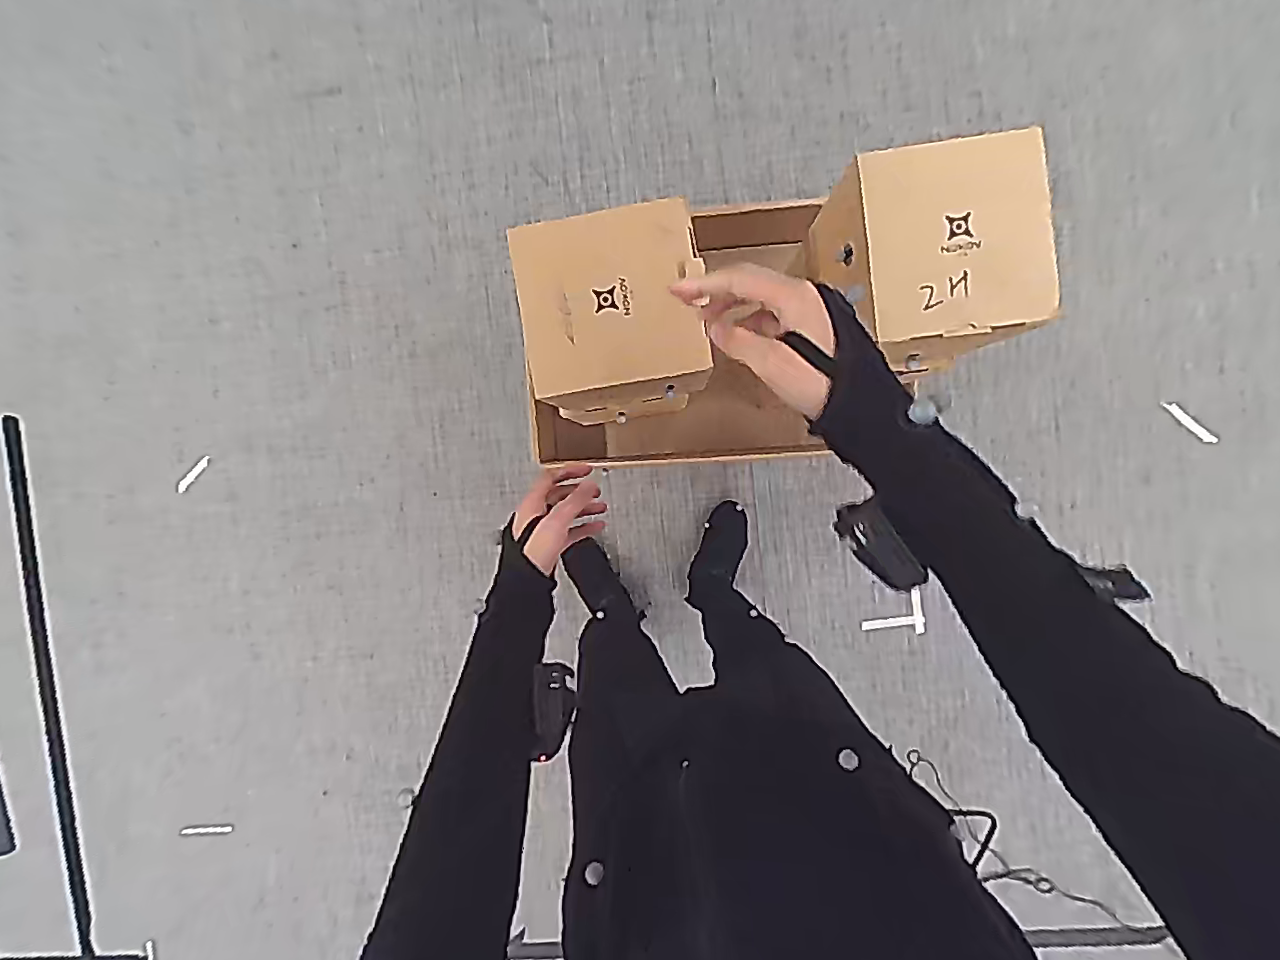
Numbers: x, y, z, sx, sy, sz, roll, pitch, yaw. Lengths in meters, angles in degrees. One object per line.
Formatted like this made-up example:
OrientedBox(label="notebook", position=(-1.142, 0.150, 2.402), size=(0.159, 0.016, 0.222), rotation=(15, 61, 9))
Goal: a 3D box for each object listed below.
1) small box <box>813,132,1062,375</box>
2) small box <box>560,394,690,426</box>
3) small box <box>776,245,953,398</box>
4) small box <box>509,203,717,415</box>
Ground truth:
OrientedBox(label="small box", position=(0.289, -0.216, 0.562), size=(0.168, 0.176, 0.179), rotation=(-7, 93, 3))
OrientedBox(label="small box", position=(-0.029, -0.176, 0.747), size=(0.168, 0.176, 0.179), rotation=(-10, 93, 3))
OrientedBox(label="small box", position=(0.289, -0.209, 0.727), size=(0.168, 0.176, 0.179), rotation=(-7, 92, 2))
OrientedBox(label="small box", position=(-0.023, -0.167, 0.583), size=(0.179, 0.176, 0.168), rotation=(-9, 93, 3))
